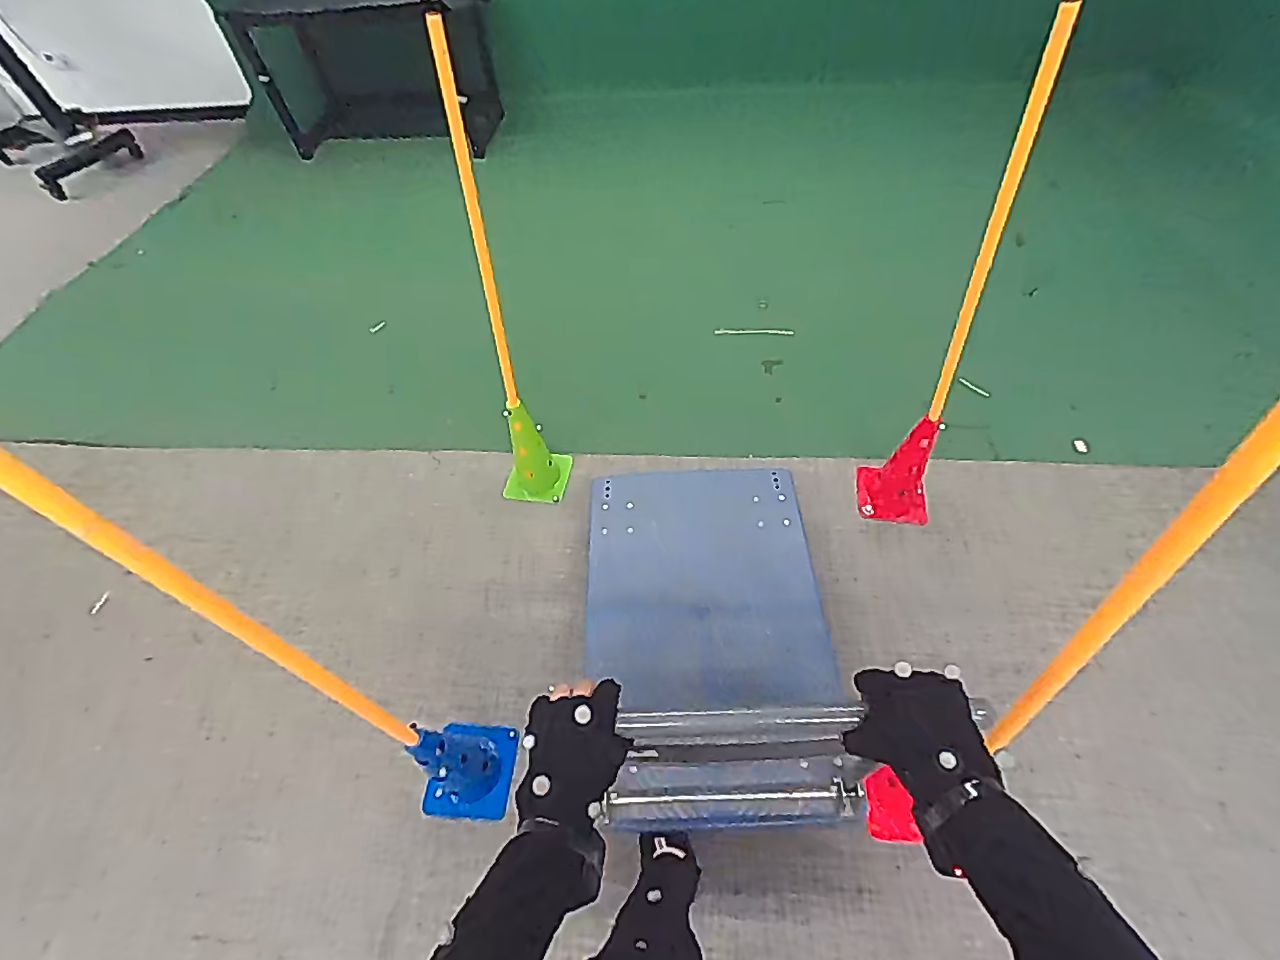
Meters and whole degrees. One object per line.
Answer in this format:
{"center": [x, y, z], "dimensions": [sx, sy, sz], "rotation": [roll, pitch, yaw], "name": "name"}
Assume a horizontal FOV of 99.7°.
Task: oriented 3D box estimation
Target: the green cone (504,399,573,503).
{"center": [-0.352, -0.113, 1.690], "dimensions": [0.202, 0.368, 0.200], "rotation": [5, 54, 9], "name": "green cone"}

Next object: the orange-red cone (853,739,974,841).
{"center": [0.586, 0.602, 1.099], "dimensions": [0.199, 0.360, 0.198], "rotation": [0, 53, 6], "name": "orange-red cone"}
